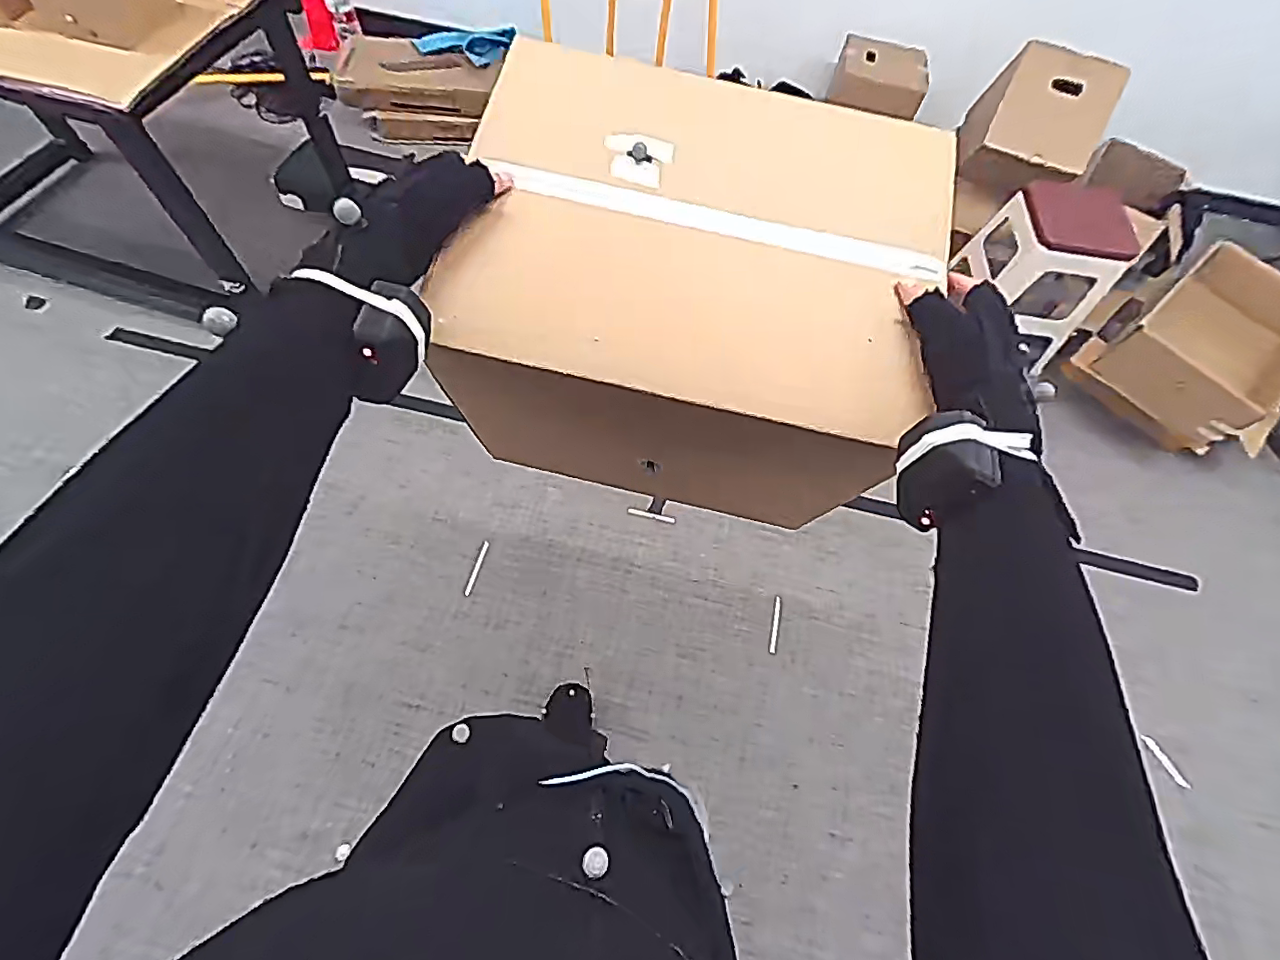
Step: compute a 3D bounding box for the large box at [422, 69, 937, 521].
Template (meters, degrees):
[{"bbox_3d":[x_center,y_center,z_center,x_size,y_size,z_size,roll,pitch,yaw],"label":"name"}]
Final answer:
[{"bbox_3d":[0.047,-0.165,0.608,0.408,0.320,0.320,13,73,2],"label":"large box"}]
